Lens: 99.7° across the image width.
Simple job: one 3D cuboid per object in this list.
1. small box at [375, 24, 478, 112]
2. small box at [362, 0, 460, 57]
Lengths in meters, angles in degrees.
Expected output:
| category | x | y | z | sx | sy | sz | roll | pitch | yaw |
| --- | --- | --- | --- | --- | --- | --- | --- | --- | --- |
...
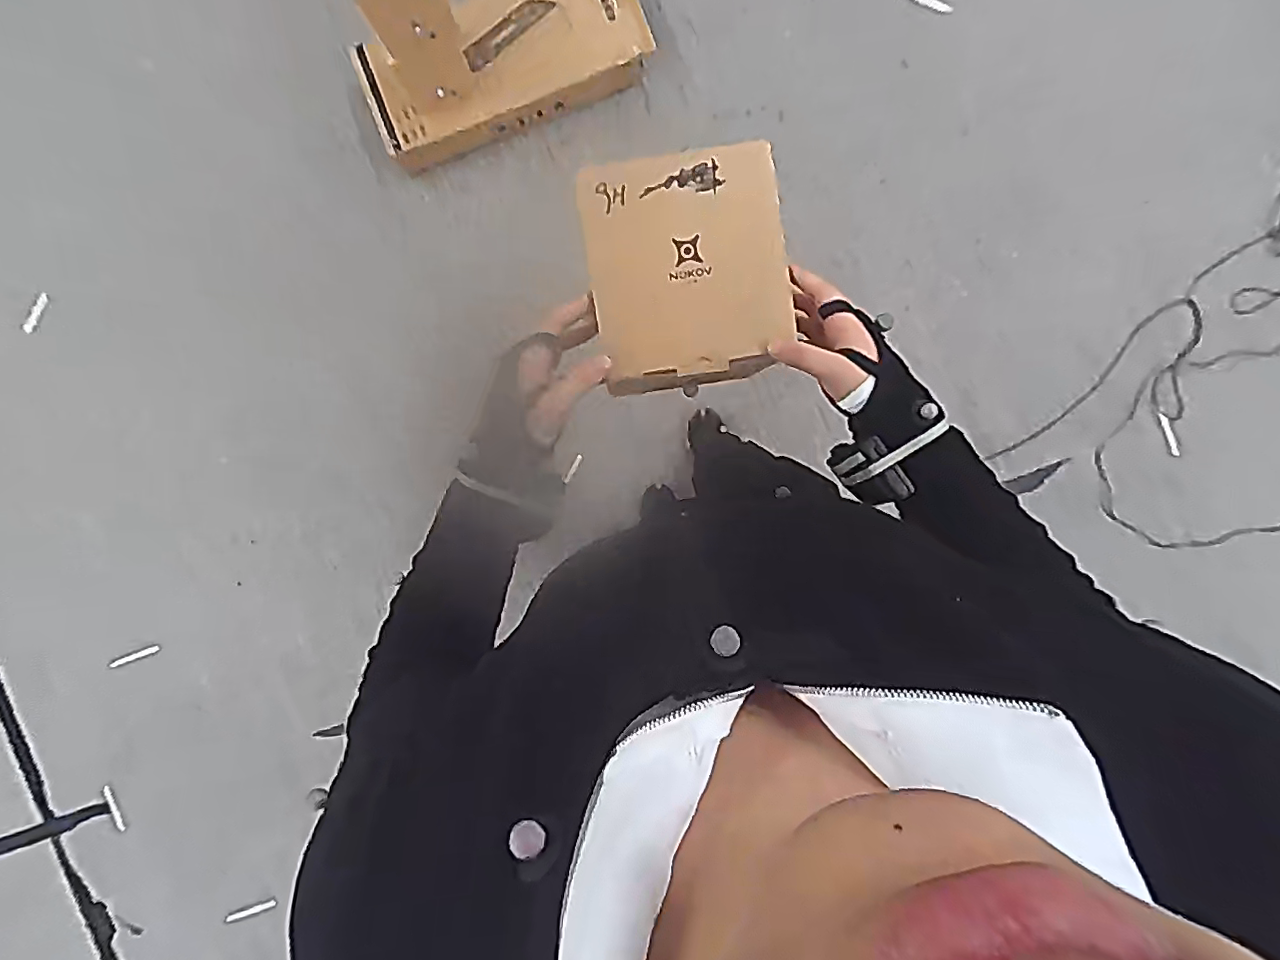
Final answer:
| category | x | y | z | sx | sy | sz | roll | pitch | yaw |
| --- | --- | --- | --- | --- | --- | --- | --- | --- | --- |
| small box | -0.518 | -1.047 | 1.305 | 0.168 | 0.176 | 0.179 | -22 | 91 | 2 |
| small box | -0.508 | -1.057 | 1.139 | 0.168 | 0.176 | 0.179 | -21 | 90 | 2 |
